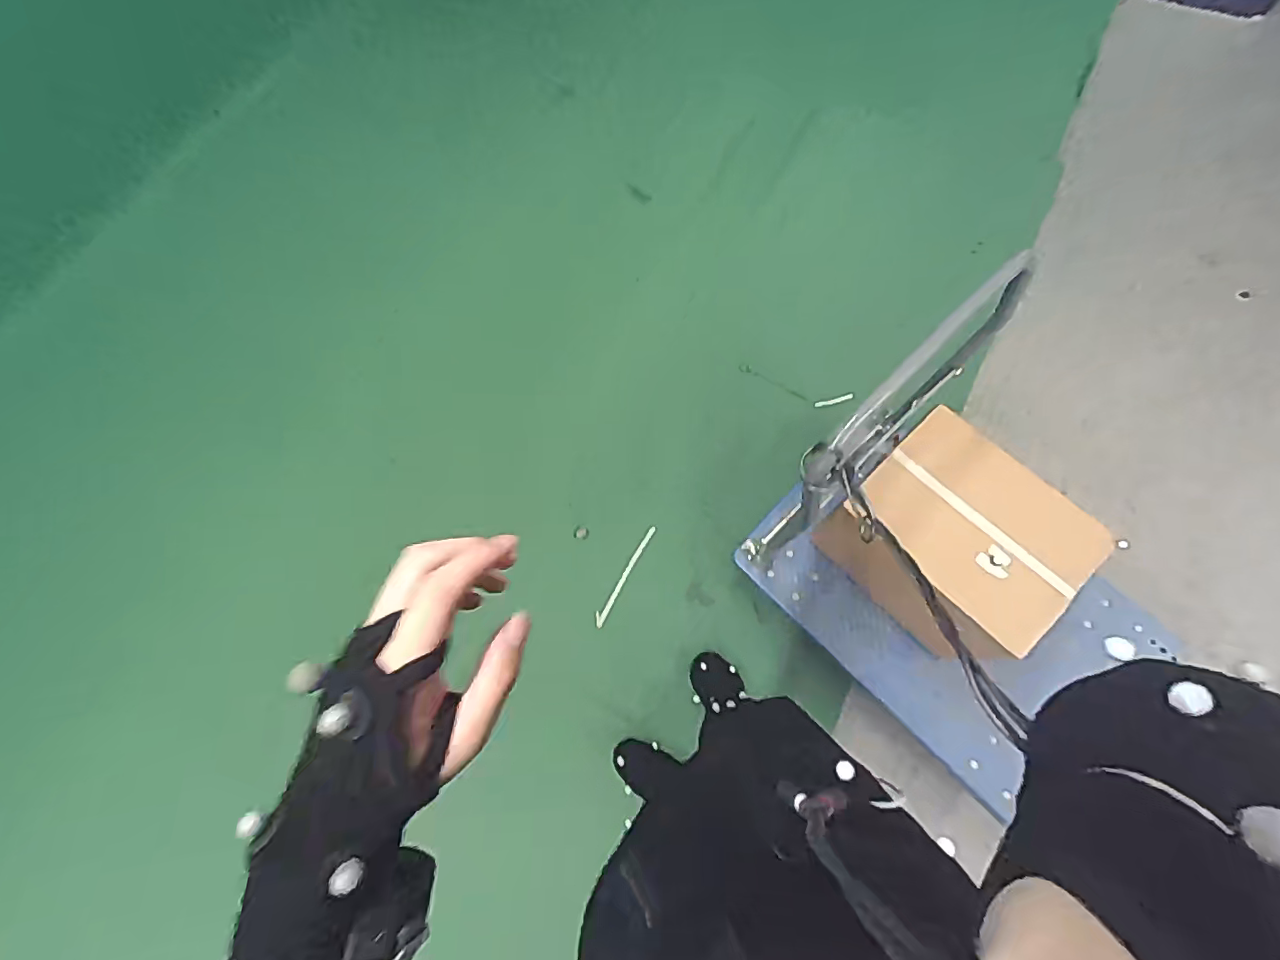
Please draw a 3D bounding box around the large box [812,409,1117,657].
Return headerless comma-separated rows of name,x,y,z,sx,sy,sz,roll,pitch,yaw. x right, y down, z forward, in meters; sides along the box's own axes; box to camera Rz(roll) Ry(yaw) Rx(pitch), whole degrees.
large box,0.657,0.129,1.176,0.320,0.320,0.408,-43,74,-10
